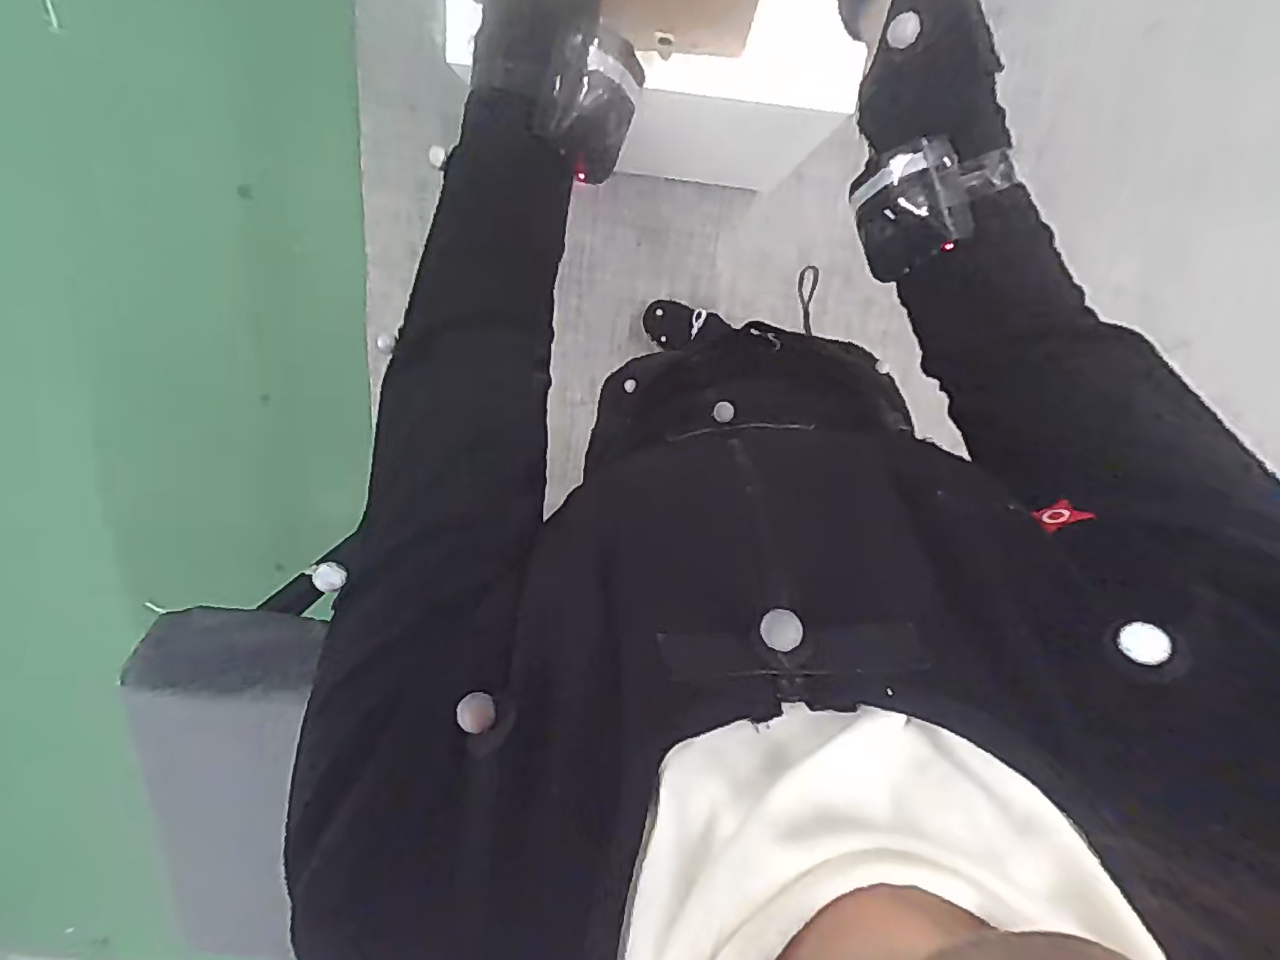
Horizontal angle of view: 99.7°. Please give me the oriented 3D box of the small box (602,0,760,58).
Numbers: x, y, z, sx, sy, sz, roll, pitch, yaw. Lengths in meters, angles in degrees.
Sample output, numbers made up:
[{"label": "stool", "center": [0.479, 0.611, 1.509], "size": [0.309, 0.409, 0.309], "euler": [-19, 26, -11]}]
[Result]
[{"label": "small box", "center": [0.044, -0.567, 0.544], "size": [0.168, 0.176, 0.179], "euler": [5, 110, 3]}]
